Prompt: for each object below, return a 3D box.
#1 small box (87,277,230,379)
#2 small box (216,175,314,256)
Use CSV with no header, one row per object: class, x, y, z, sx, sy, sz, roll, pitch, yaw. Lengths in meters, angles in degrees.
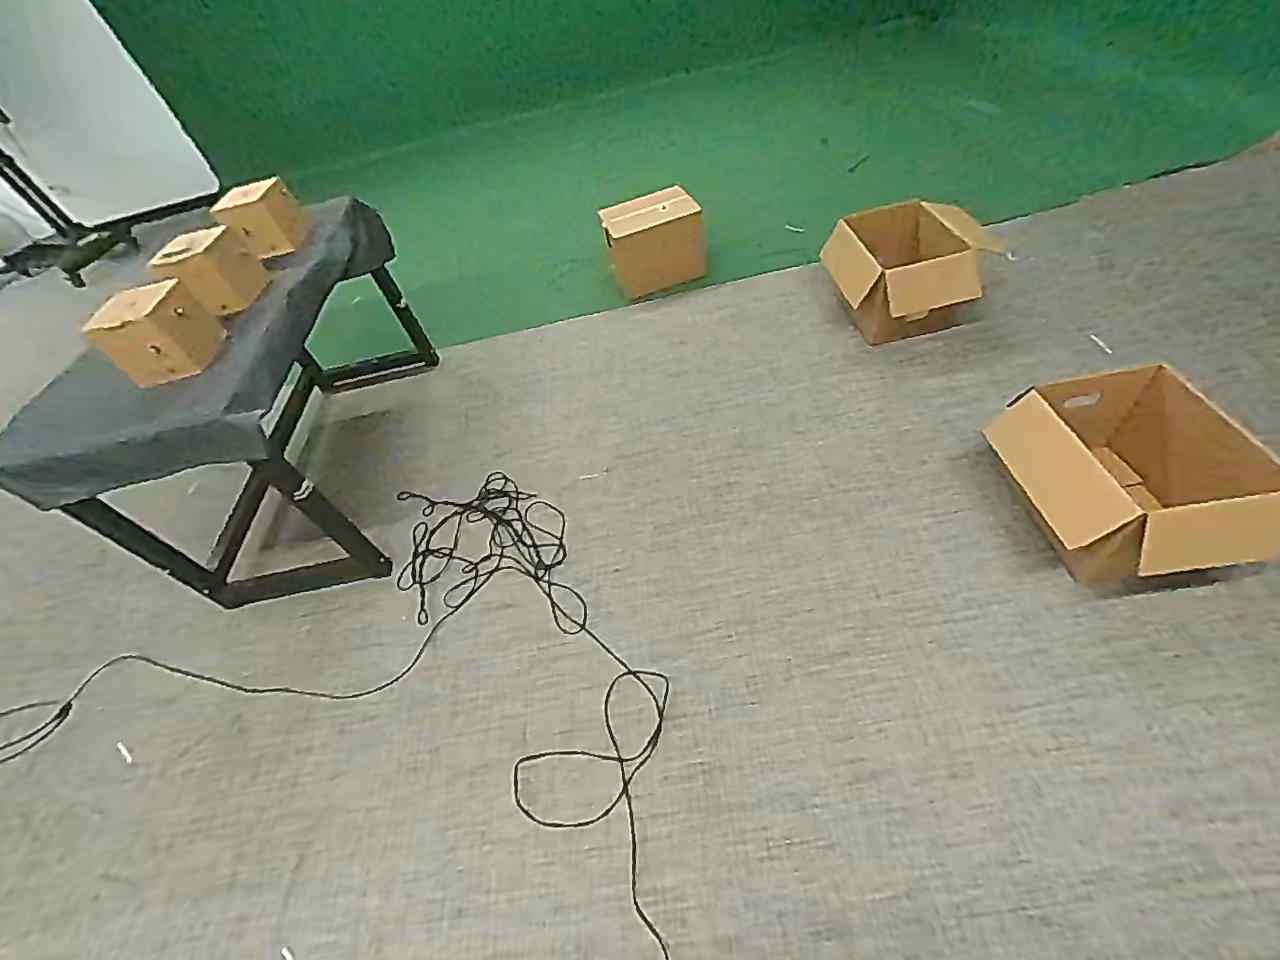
small box,-1.165,-0.366,1.329,0.168,0.176,0.179,-12,48,3
small box,-1.185,-0.838,1.729,0.168,0.176,0.179,-10,49,6
